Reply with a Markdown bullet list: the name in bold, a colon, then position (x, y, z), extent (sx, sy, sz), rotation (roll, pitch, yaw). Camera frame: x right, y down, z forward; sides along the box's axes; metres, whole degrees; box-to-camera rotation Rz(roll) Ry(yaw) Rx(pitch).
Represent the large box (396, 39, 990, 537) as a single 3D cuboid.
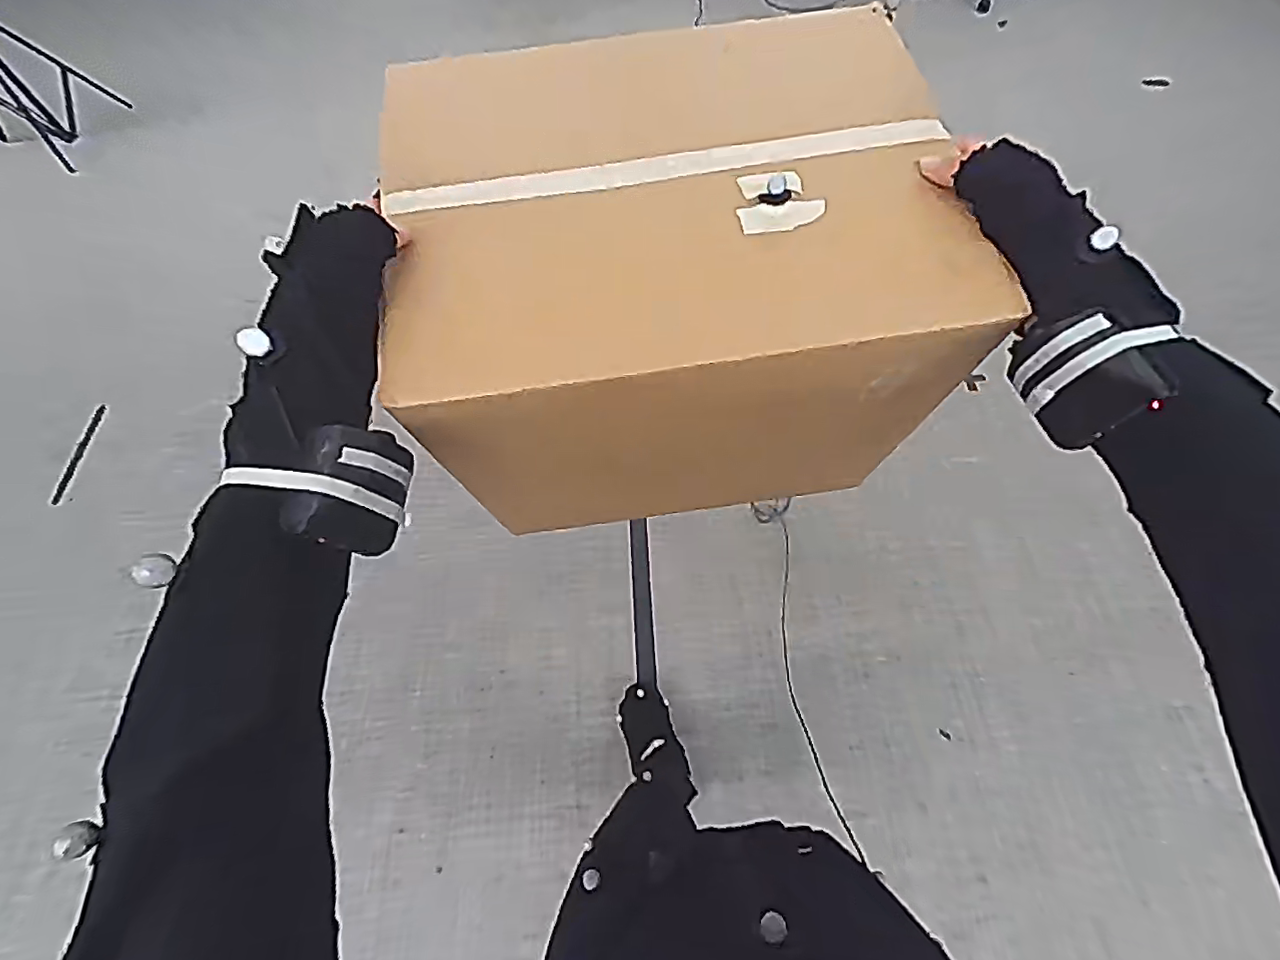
- **large box**: position (0.019, -0.156, 0.544), extent (0.408, 0.320, 0.320), rotation (-9, 69, -1)
